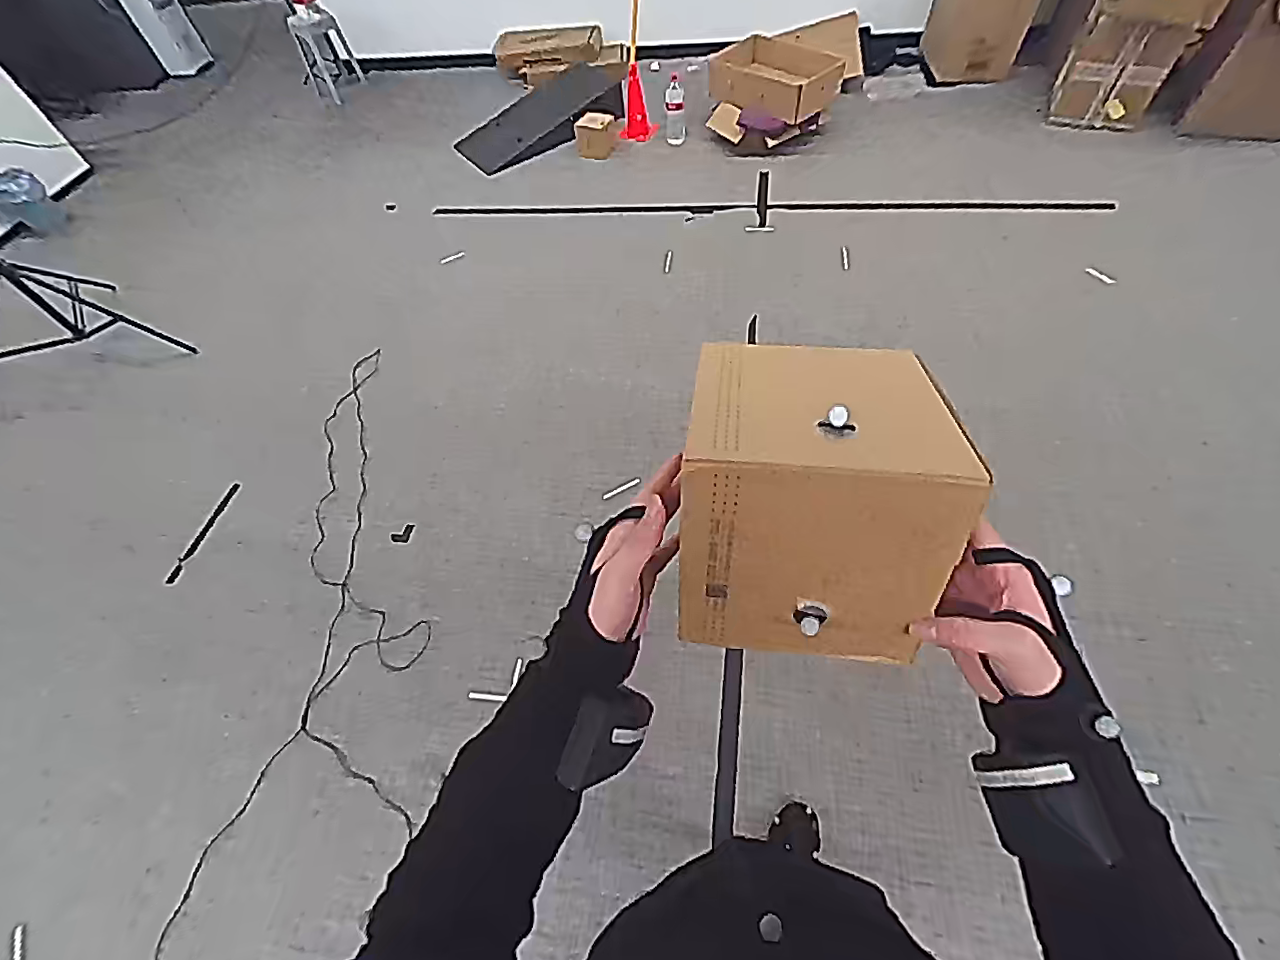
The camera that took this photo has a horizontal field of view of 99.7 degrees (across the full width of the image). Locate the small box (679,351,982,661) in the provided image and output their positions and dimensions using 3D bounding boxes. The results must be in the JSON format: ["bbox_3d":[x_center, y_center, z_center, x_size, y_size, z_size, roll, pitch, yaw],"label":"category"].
[{"bbox_3d":[0.121,0.012,0.419,0.176,0.168,0.179,4,38,7],"label":"small box"}]
